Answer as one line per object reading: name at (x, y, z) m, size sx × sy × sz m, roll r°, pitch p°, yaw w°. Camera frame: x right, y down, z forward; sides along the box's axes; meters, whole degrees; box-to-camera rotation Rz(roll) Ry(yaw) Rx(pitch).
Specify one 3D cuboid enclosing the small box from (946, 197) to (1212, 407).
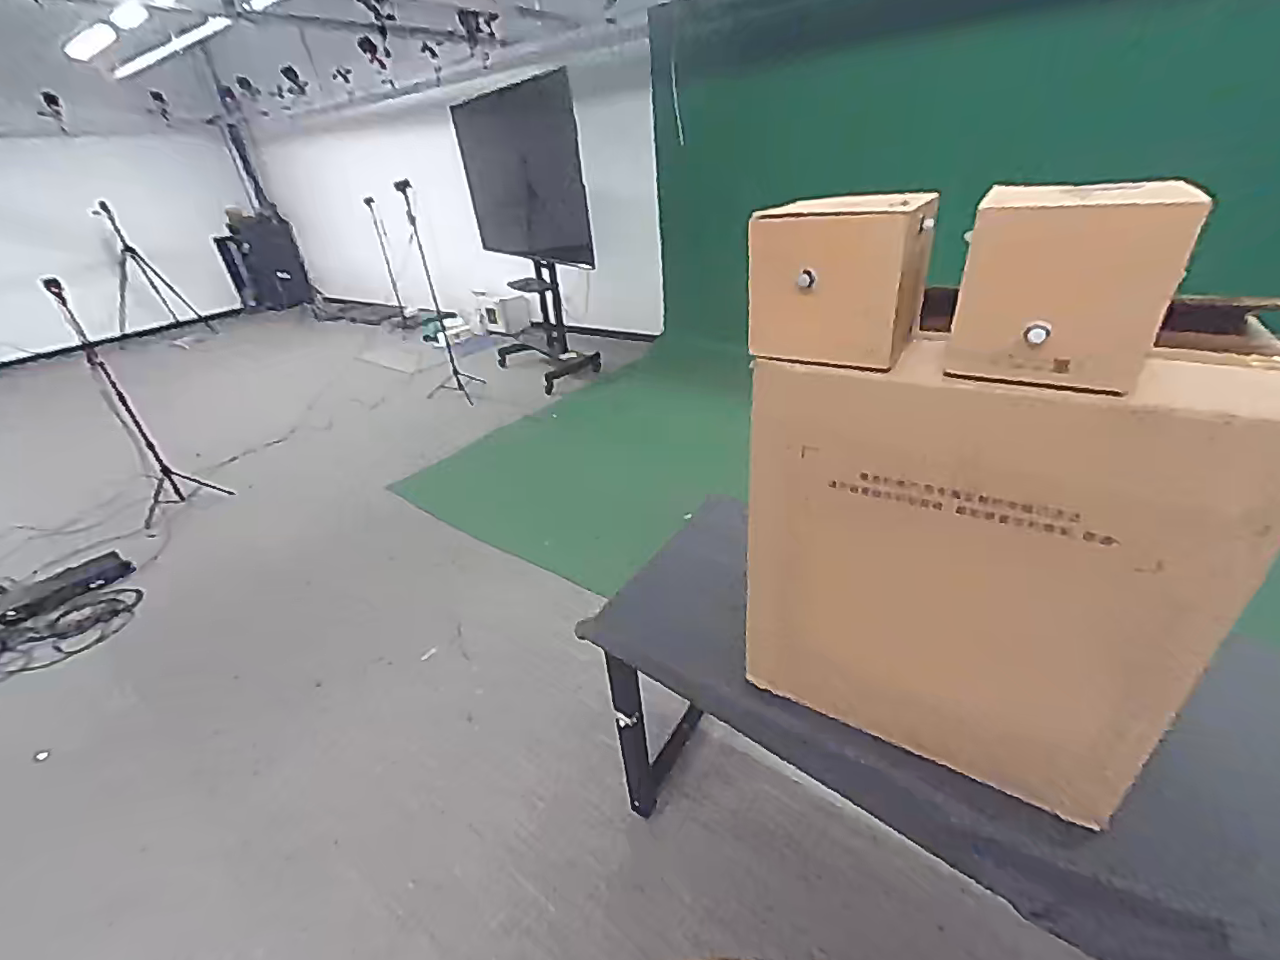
small box at (0.443, -0.197, 0.572) m, size 0.168 × 0.176 × 0.179 m, roll 16°, pitch 38°, yaw 30°

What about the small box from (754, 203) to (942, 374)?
small box at (0.254, -0.242, 0.678) m, size 0.179 × 0.176 × 0.168 m, roll 15°, pitch 37°, yaw 31°
